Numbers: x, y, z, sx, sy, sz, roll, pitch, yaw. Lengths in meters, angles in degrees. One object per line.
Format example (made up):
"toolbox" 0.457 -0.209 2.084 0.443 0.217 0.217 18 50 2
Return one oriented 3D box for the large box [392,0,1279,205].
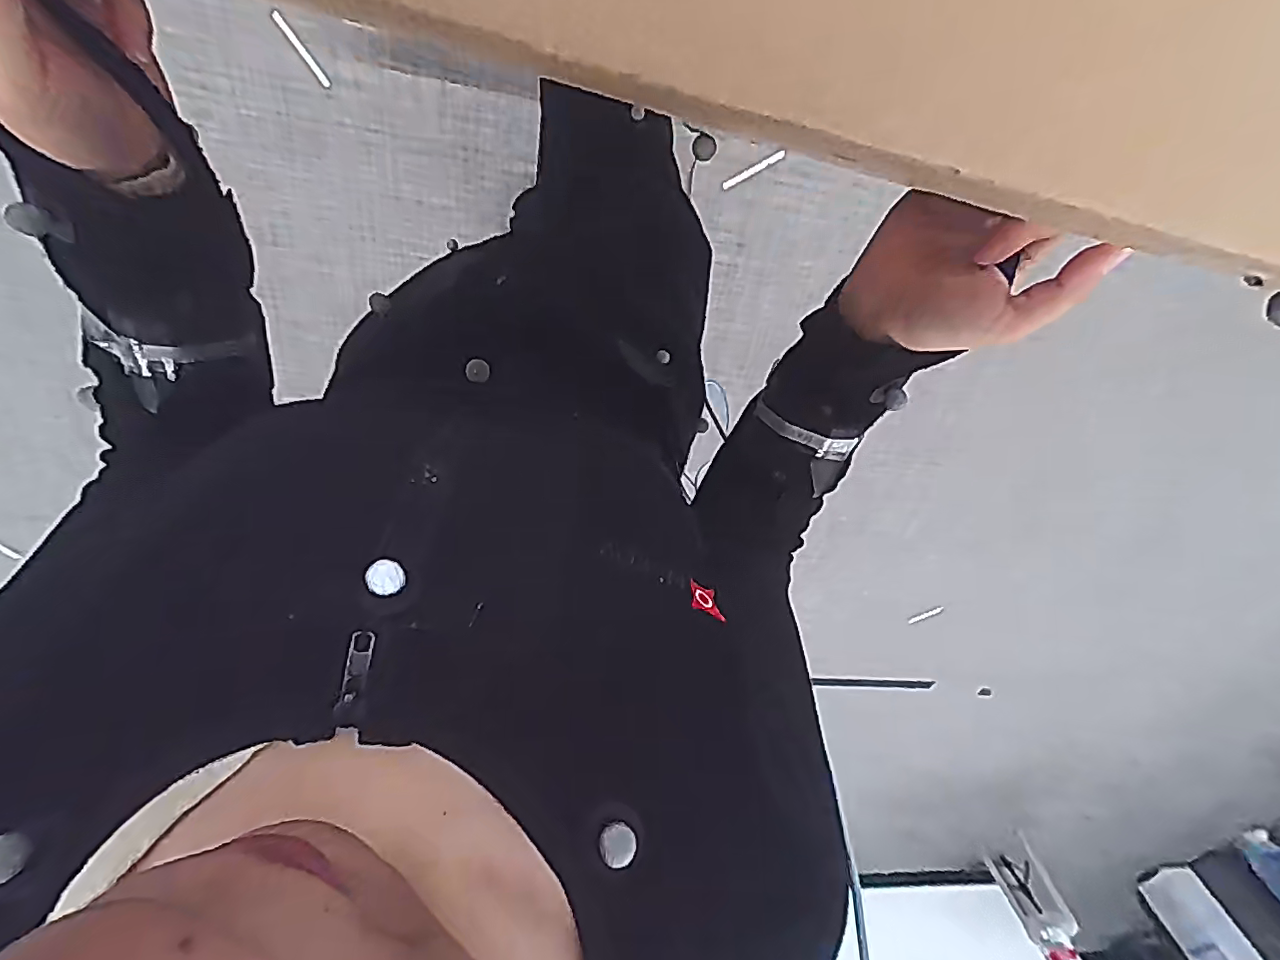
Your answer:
"large box" 0.013 -0.296 0.124 0.408 0.320 0.320 7 126 -12
